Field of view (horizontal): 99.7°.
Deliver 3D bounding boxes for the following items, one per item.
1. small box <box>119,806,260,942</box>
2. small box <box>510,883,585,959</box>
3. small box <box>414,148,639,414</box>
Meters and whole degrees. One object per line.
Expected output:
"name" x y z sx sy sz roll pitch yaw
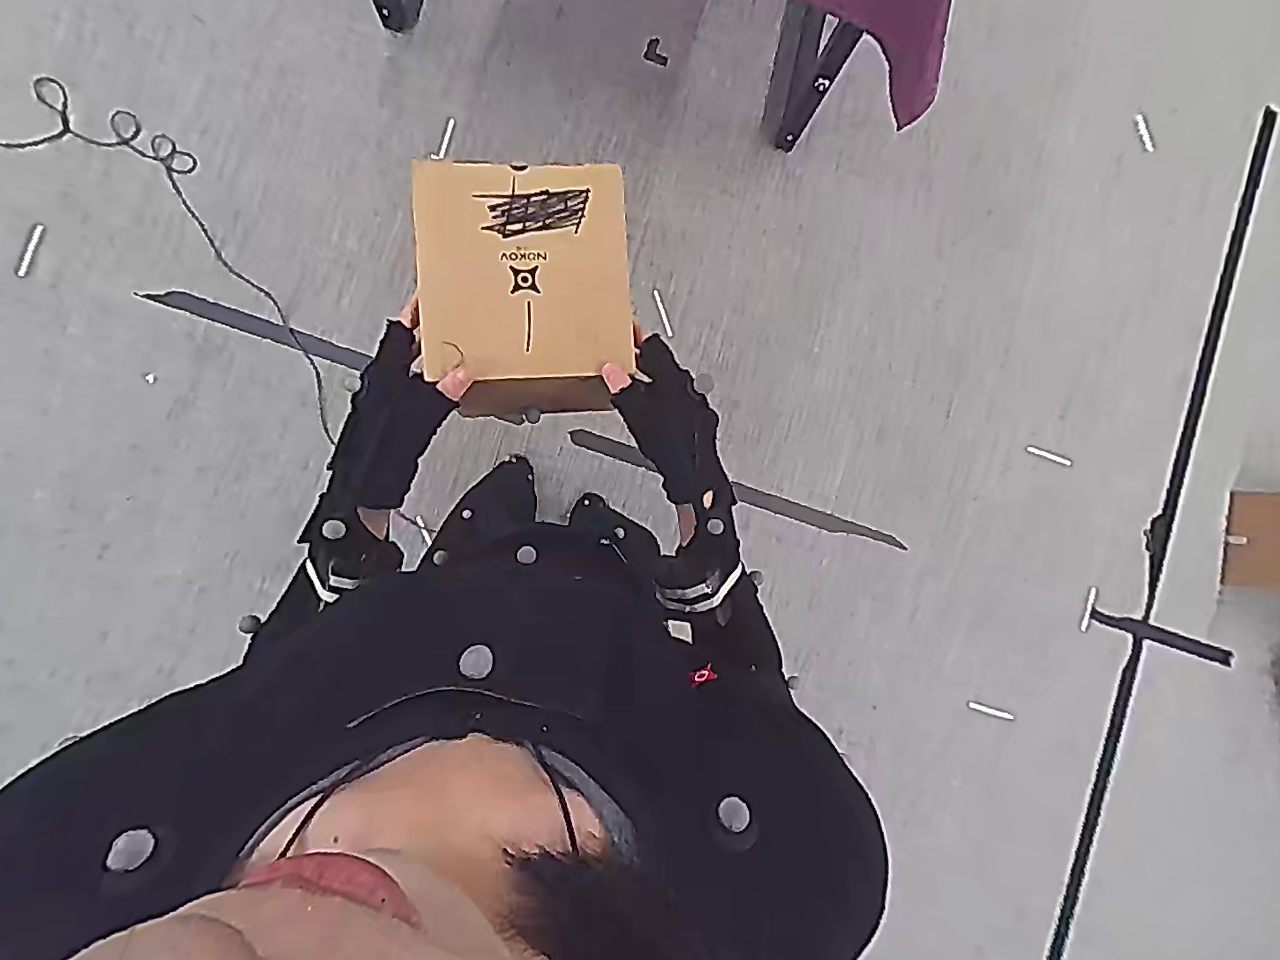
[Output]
"small box" -1.076 0.942 1.314 0.168 0.176 0.179 32 85 -4
"small box" -0.240 1.185 1.402 0.179 0.176 0.168 6 90 -7
"small box" -0.099 -0.164 0.495 0.168 0.176 0.179 -4 87 -9
